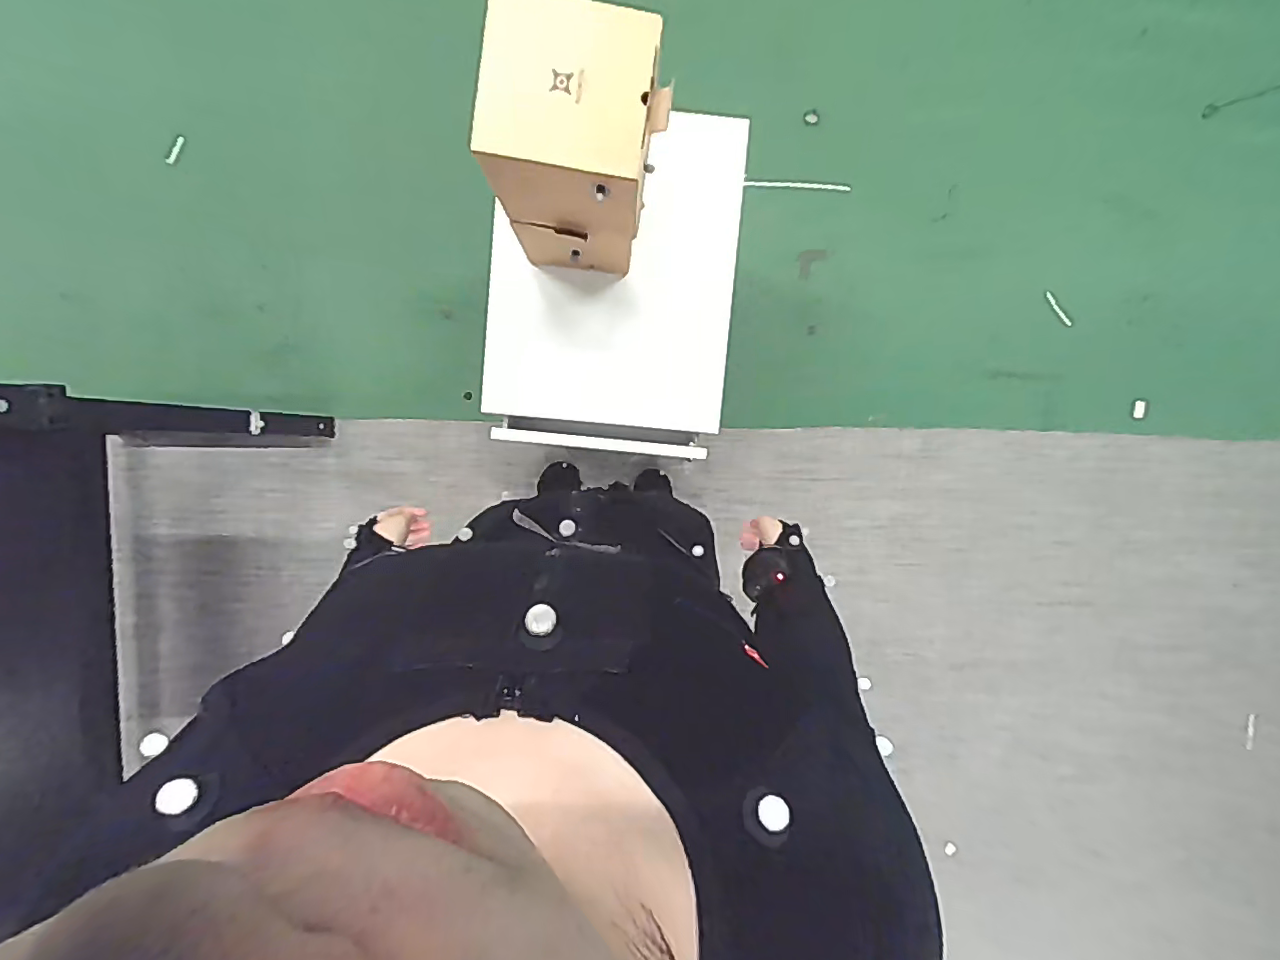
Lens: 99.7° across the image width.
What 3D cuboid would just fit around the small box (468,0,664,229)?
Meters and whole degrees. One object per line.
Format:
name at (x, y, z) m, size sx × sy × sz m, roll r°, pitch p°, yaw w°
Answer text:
small box at (-0.076, -0.406, 0.612) m, size 0.179 × 0.176 × 0.168 m, roll 8°, pitch 94°, yaw -3°

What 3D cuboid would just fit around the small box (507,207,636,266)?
small box at (-0.085, -0.423, 0.773) m, size 0.168 × 0.176 × 0.179 m, roll 5°, pitch 95°, yaw -3°
